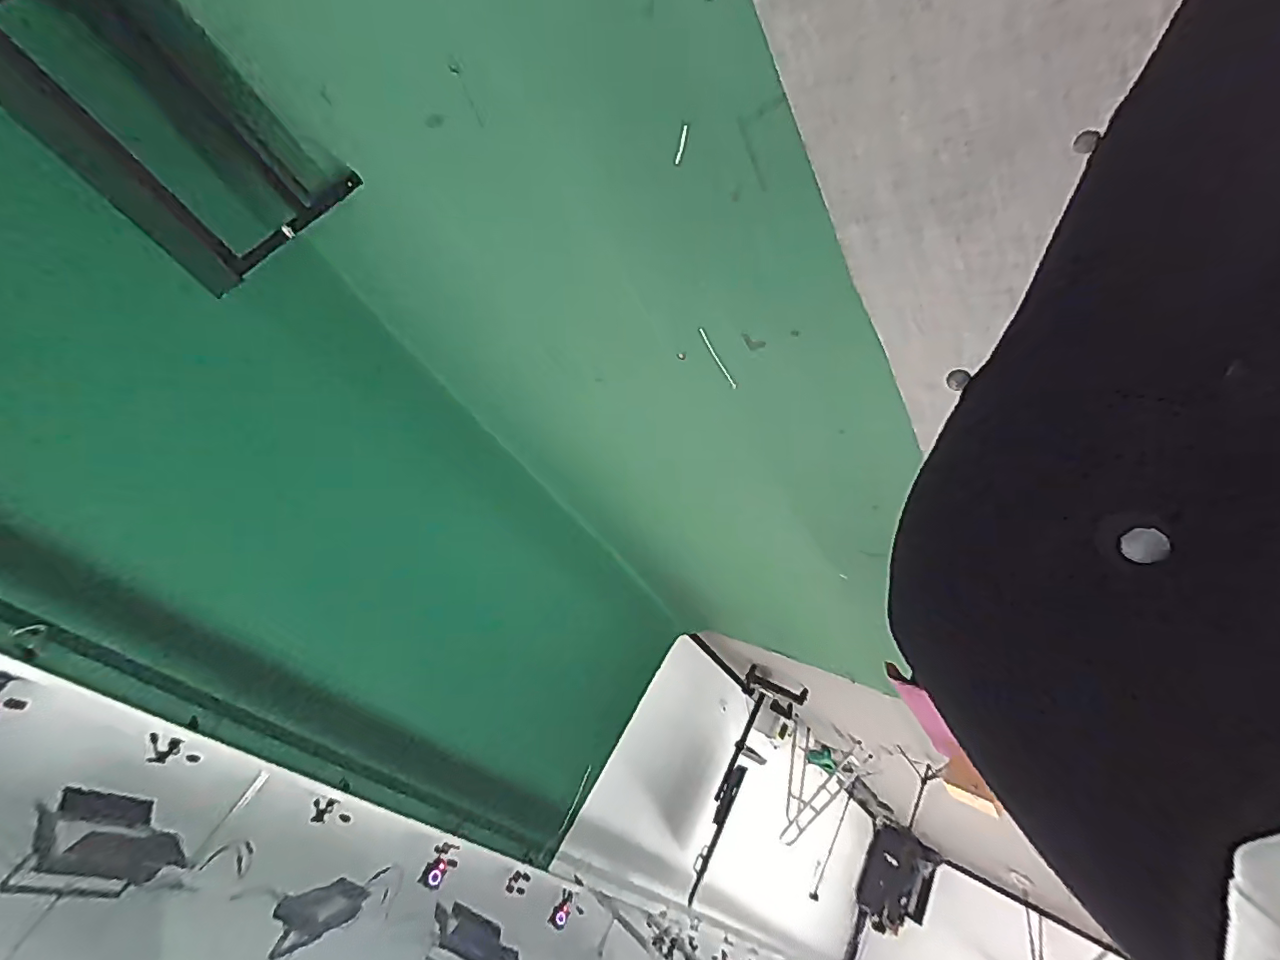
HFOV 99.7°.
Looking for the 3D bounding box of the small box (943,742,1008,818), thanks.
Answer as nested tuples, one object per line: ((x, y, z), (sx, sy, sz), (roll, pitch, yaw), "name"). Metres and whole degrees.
((1.269, 1.126, 2.038), (0.168, 0.176, 0.179), (5, 143, 46), "small box")
